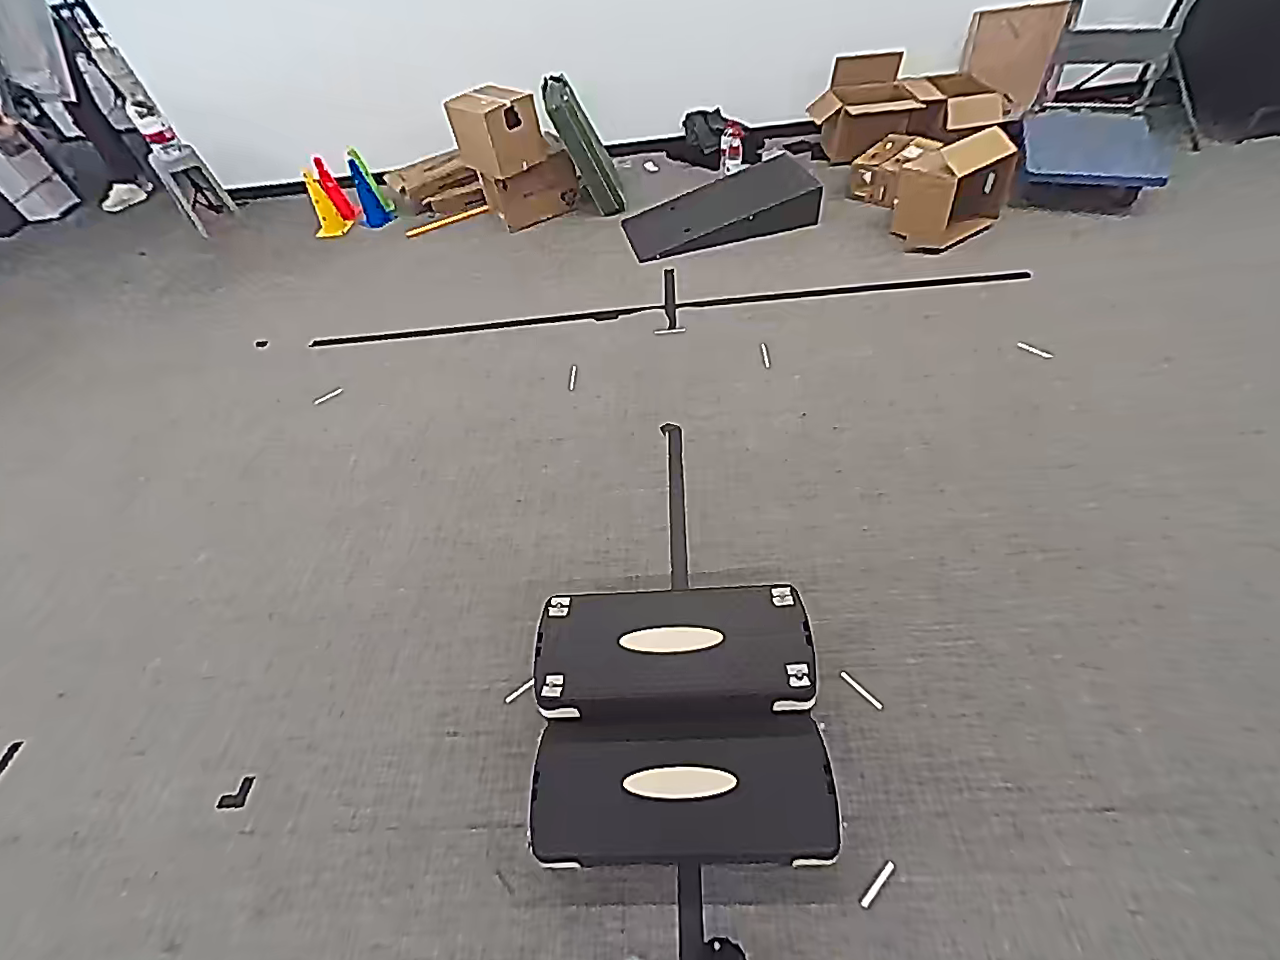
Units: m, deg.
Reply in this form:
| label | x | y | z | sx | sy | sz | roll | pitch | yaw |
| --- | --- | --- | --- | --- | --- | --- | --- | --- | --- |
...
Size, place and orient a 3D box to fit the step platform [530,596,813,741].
| label | x | y | z | sx | sy | sz | roll | pitch | yaw |
| --- | --- | --- | --- | --- | --- | --- | --- | --- | --- |
| step platform | 0.073 | 0.466 | 1.351 | 0.684 | 0.204 | 0.286 | -4 | 51 | 3 |
